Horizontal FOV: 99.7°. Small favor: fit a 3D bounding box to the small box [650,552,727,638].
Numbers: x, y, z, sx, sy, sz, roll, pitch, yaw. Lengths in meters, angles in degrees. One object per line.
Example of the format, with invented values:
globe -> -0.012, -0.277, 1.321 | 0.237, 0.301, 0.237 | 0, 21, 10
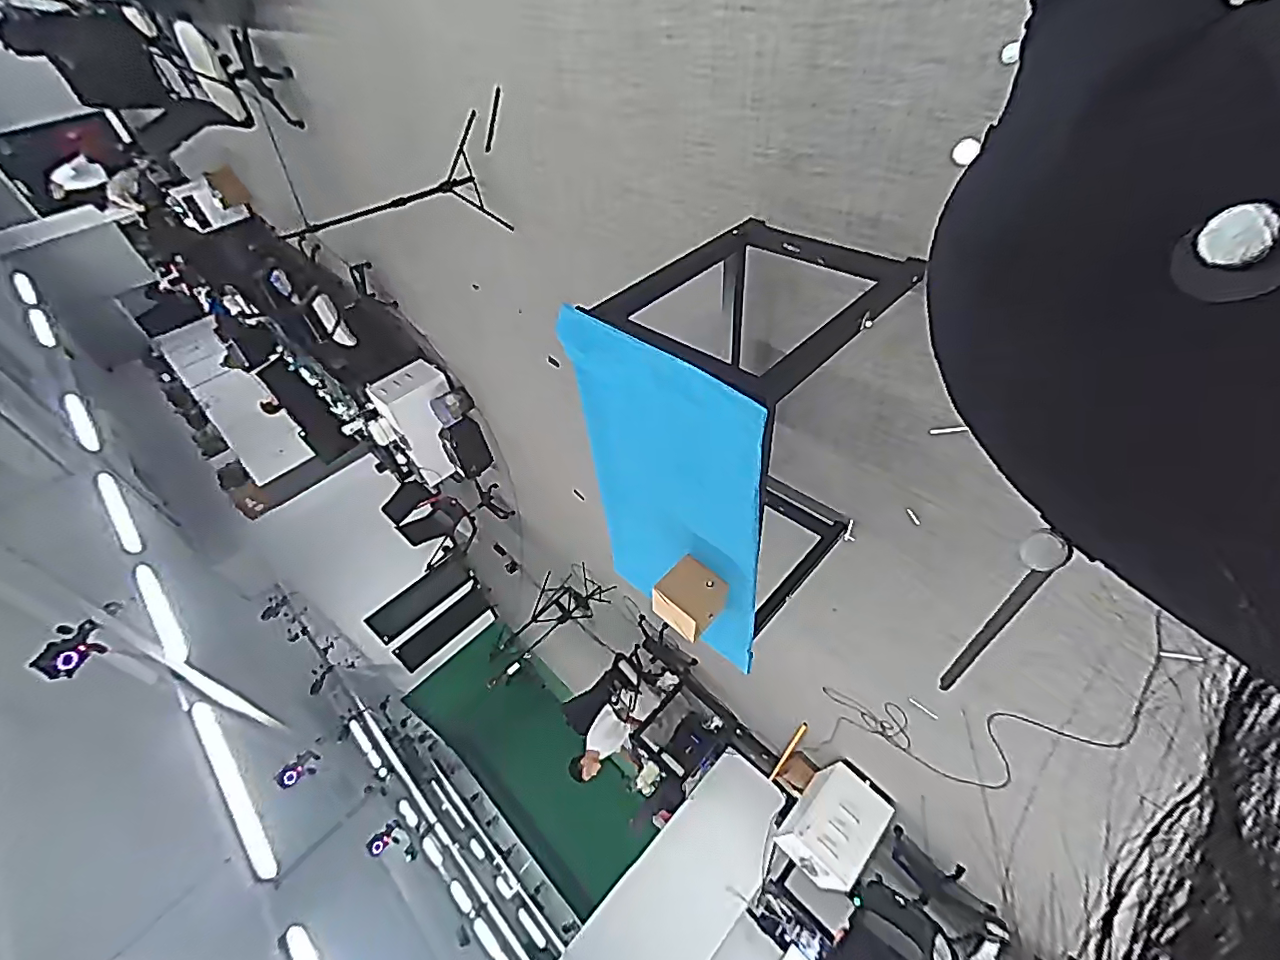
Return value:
small box -> 0.154, 0.375, 1.737 | 0.179, 0.176, 0.168 | 35, 149, 27
